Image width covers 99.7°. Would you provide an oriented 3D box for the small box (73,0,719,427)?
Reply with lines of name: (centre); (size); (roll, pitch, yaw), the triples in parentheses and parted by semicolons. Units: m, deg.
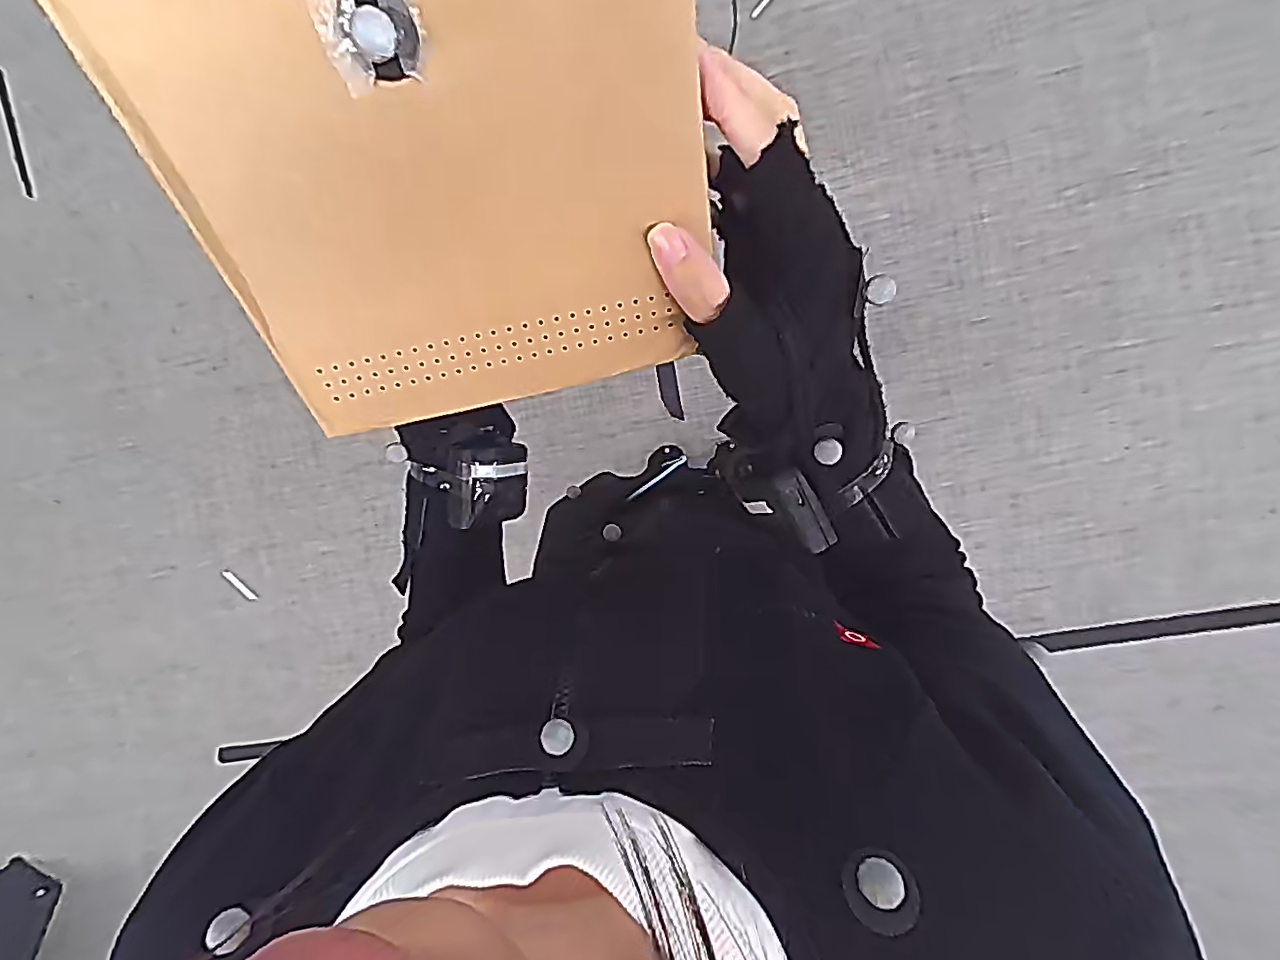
small box: (-0.070, -0.143, 0.248); (0.179, 0.168, 0.176); (-12, 131, 0)
